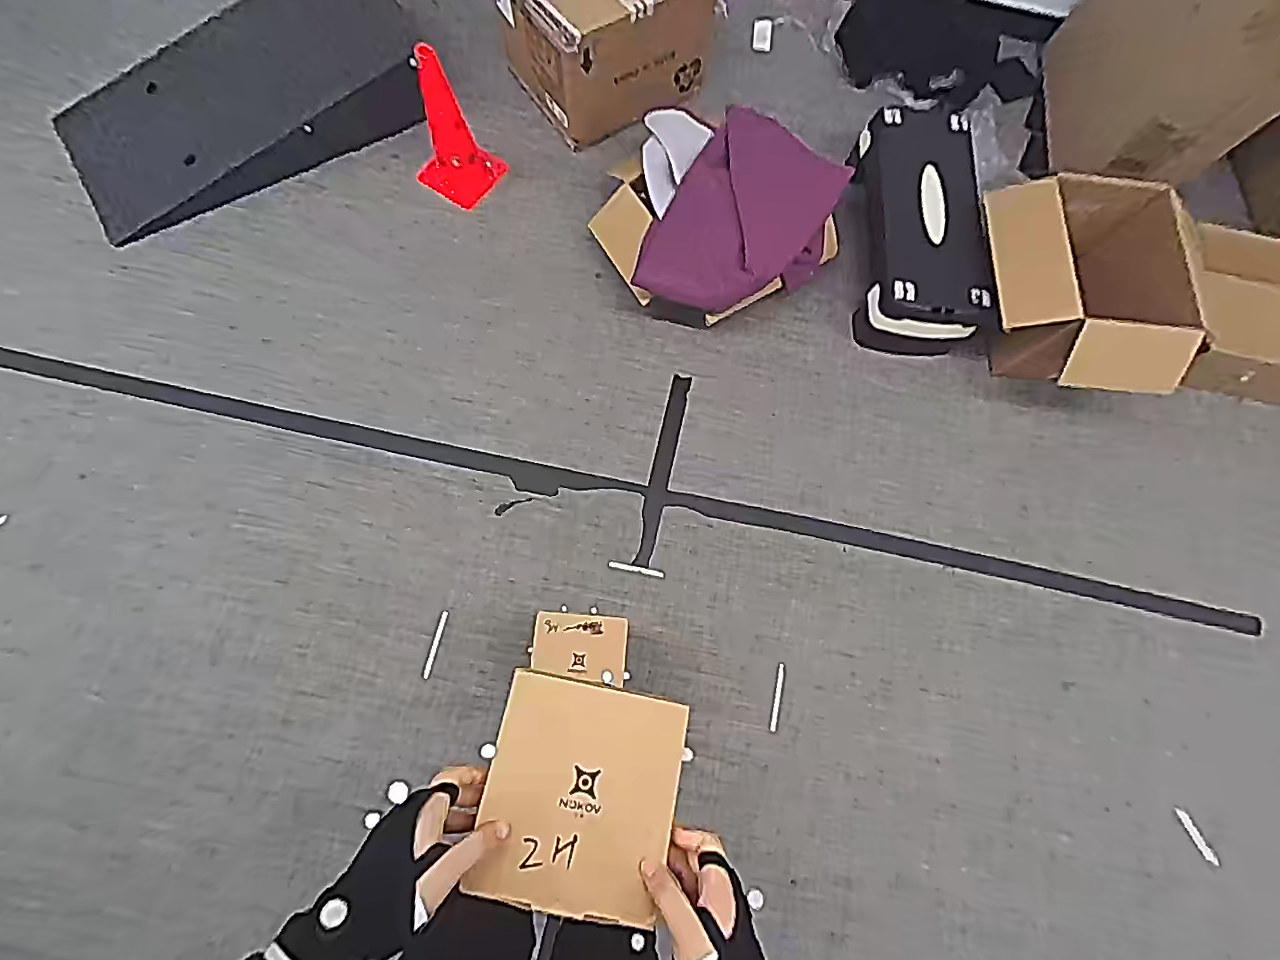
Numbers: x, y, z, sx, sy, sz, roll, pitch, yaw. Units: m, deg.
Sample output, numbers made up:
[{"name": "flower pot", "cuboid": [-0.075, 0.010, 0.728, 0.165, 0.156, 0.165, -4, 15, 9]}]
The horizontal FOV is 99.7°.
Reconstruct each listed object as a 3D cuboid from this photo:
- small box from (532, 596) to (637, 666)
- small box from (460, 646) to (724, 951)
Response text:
[{"name": "small box", "cuboid": [-0.096, 0.300, 0.942, 0.168, 0.176, 0.179, 5, 75, -2]}, {"name": "small box", "cuboid": [-0.037, 0.252, 0.469, 0.168, 0.176, 0.179, 12, 70, -2]}]
